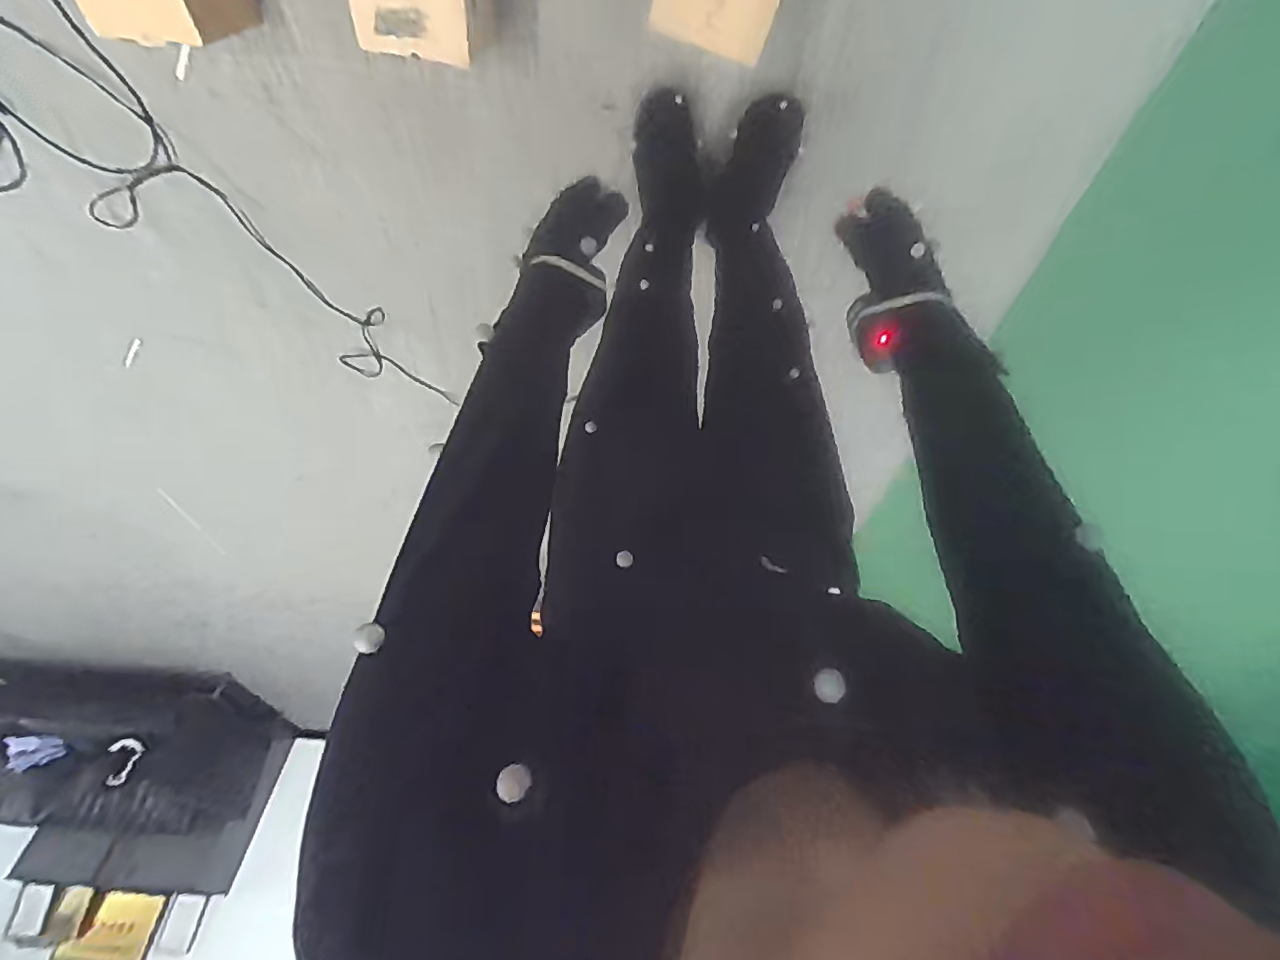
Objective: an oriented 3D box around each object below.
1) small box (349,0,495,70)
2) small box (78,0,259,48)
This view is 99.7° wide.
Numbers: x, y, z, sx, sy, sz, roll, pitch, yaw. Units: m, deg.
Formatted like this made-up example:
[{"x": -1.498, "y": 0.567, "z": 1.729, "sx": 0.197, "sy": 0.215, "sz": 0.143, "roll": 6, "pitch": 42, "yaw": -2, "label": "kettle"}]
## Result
[{"x": -0.315, "y": -0.739, "z": 0.788, "sx": 0.168, "sy": 0.176, "sz": 0.179, "roll": 8, "pitch": 139, "yaw": -3, "label": "small box"}, {"x": -0.717, "y": -0.771, "z": 0.795, "sx": 0.168, "sy": 0.176, "sz": 0.179, "roll": 5, "pitch": 140, "yaw": 1, "label": "small box"}]
